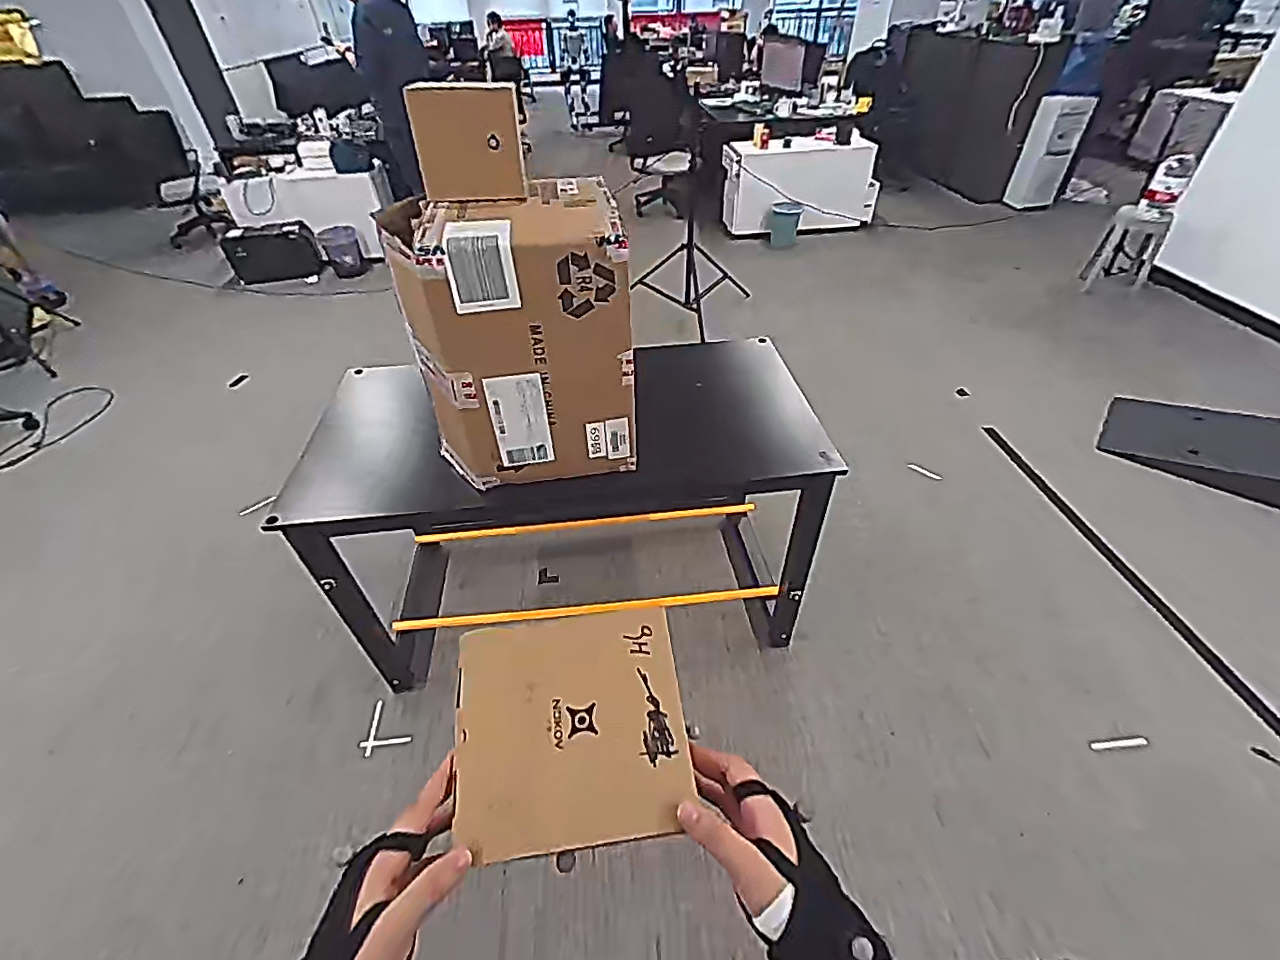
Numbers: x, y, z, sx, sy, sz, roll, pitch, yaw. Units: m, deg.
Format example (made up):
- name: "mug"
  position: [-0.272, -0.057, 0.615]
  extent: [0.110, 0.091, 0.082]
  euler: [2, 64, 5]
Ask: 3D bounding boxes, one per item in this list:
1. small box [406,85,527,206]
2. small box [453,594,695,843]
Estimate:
- name: "small box"
  position: [-0.304, -0.614, 0.991]
  extent: [0.179, 0.176, 0.168]
  euler: [-7, 39, -7]
- name: "small box"
  position: [-0.054, 0.222, 0.492]
  extent: [0.179, 0.176, 0.168]
  euler: [-6, 56, -5]
